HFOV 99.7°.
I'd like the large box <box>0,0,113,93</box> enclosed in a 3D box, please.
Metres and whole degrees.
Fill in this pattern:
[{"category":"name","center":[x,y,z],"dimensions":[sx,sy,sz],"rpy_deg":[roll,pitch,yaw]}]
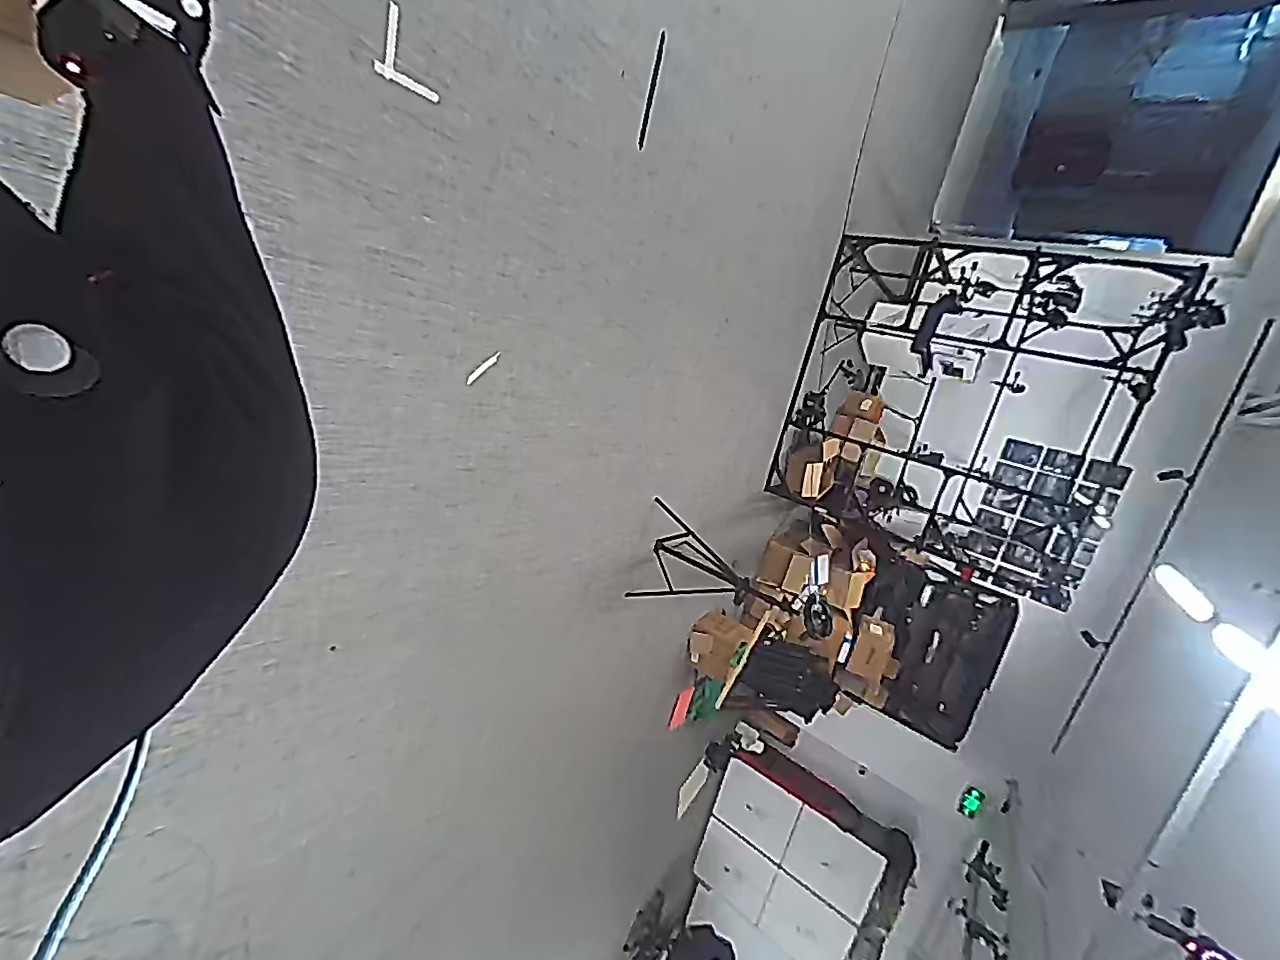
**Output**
[{"category":"large box","center":[-0.634,-0.520,0.332],"dimensions":[0.408,0.320,0.320],"rpy_deg":[-2,110,-56]}]
